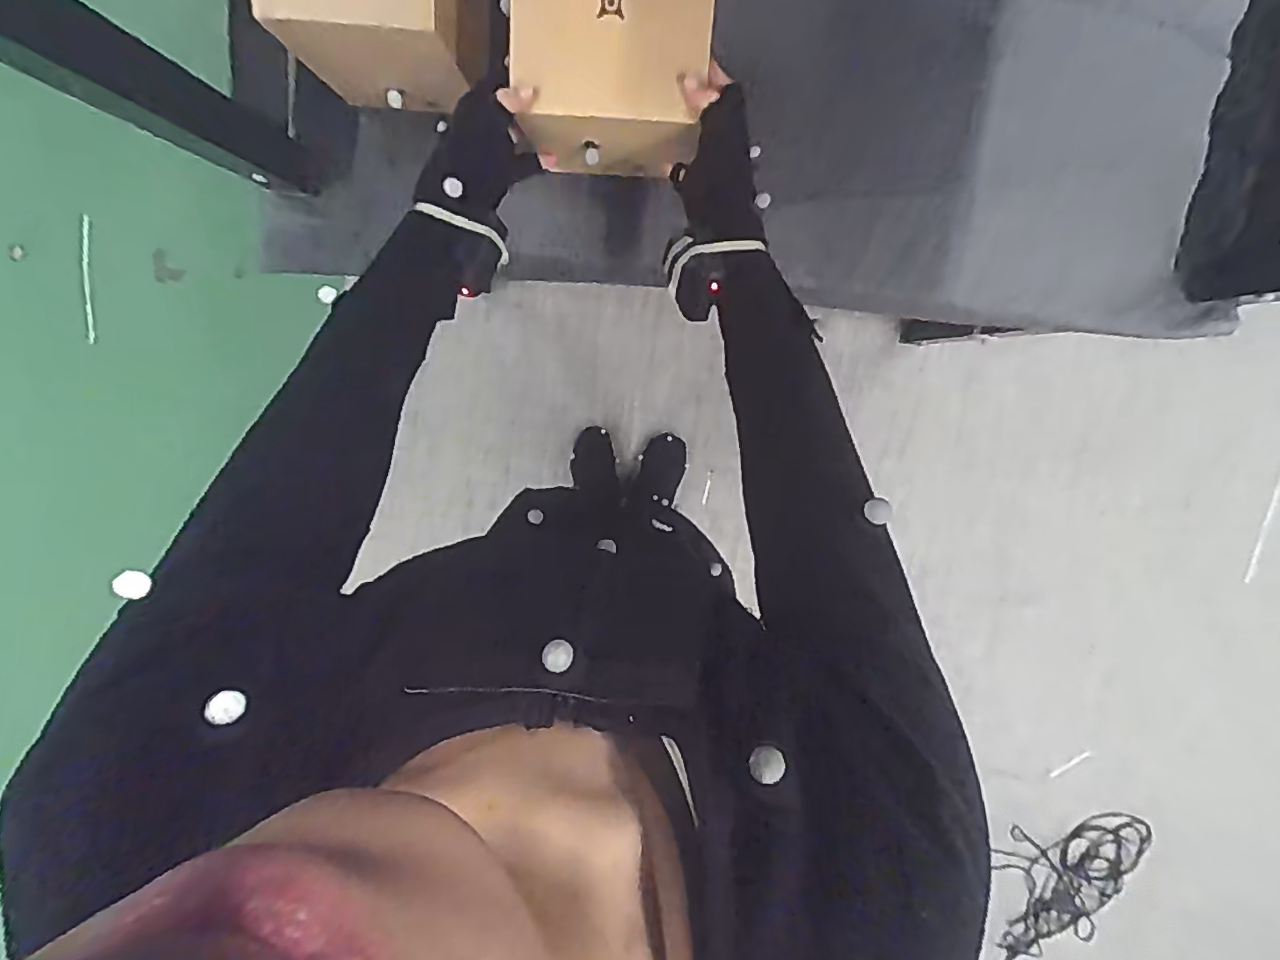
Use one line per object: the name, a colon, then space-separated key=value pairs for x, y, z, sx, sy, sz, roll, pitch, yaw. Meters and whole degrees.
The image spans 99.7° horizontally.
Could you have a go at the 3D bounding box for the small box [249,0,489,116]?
small box: x=-0.255 y=-0.505 z=0.540 sx=0.168 sy=0.176 sz=0.179 roll=4 pitch=101 yaw=-1

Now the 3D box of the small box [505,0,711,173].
small box: x=-0.021 y=-0.408 z=0.505 sx=0.168 sy=0.176 sz=0.179 roll=4 pitch=103 yaw=1
